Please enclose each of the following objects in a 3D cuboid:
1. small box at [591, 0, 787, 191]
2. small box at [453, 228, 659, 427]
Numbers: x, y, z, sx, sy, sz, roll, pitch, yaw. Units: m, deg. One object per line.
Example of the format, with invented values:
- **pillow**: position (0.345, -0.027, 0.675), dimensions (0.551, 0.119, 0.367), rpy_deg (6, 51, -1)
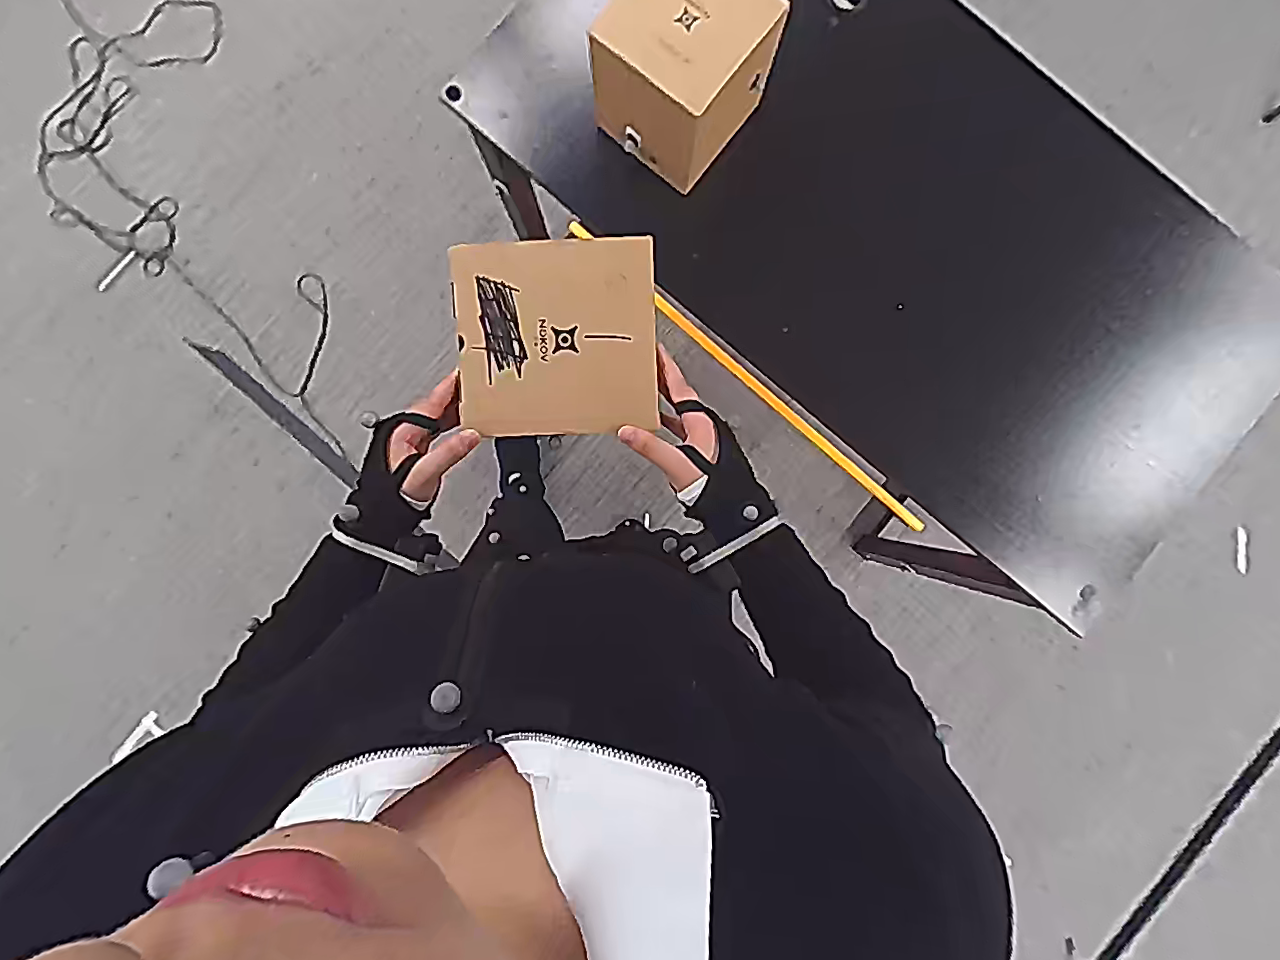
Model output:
- **small box**: position (0.055, -0.528, 0.701), dimensions (0.168, 0.176, 0.179), rpy_deg (37, 89, 1)
- **small box**: position (-0.070, -0.137, 0.544), dimensions (0.179, 0.176, 0.168), rpy_deg (-2, 96, 0)
